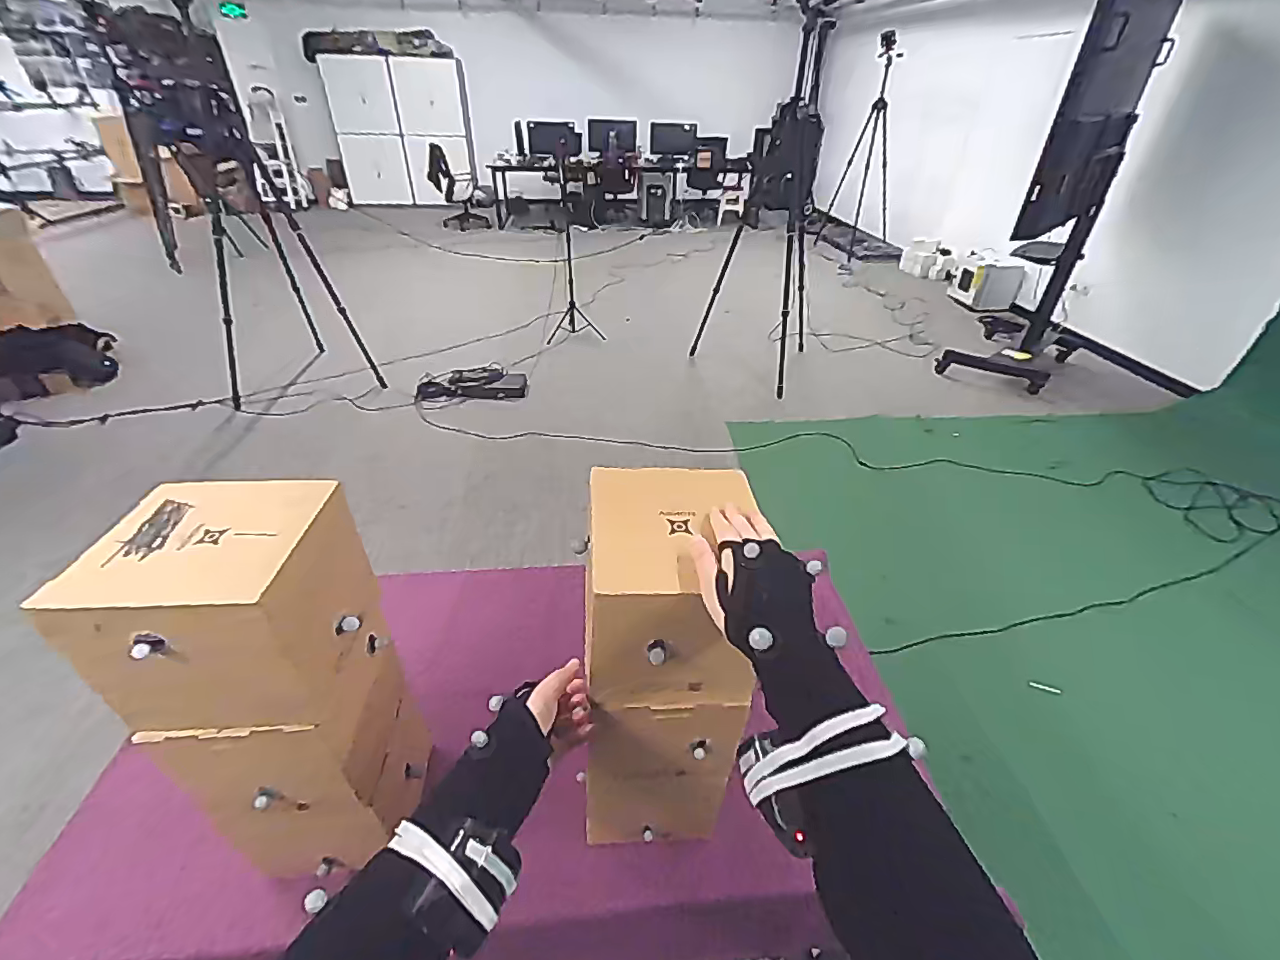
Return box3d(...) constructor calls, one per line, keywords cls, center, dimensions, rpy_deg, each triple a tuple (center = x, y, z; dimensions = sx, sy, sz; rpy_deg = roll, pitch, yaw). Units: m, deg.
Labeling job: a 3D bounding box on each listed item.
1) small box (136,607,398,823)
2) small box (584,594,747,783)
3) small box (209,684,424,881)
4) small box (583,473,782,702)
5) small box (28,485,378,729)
box3d(cls="small box", center=(-0.394, 0.256, 0.617), dimensions=(0.168, 0.176, 0.179), rpy_deg=(-2, 36, -5))
box3d(cls="small box", center=(0.017, 0.242, 0.649), dimensions=(0.168, 0.176, 0.179), rpy_deg=(0, 36, -7))
box3d(cls="small box", center=(-0.397, 0.393, 0.709), dimensions=(0.179, 0.176, 0.168), rpy_deg=(-2, 35, -7))
box3d(cls="small box", center=(0.028, 0.110, 0.555), dimensions=(0.168, 0.176, 0.179), rpy_deg=(1, 36, -7))
box3d(cls="small box", center=(-0.385, 0.121, 0.523), dimensions=(0.179, 0.176, 0.168), rpy_deg=(0, 35, -4))
